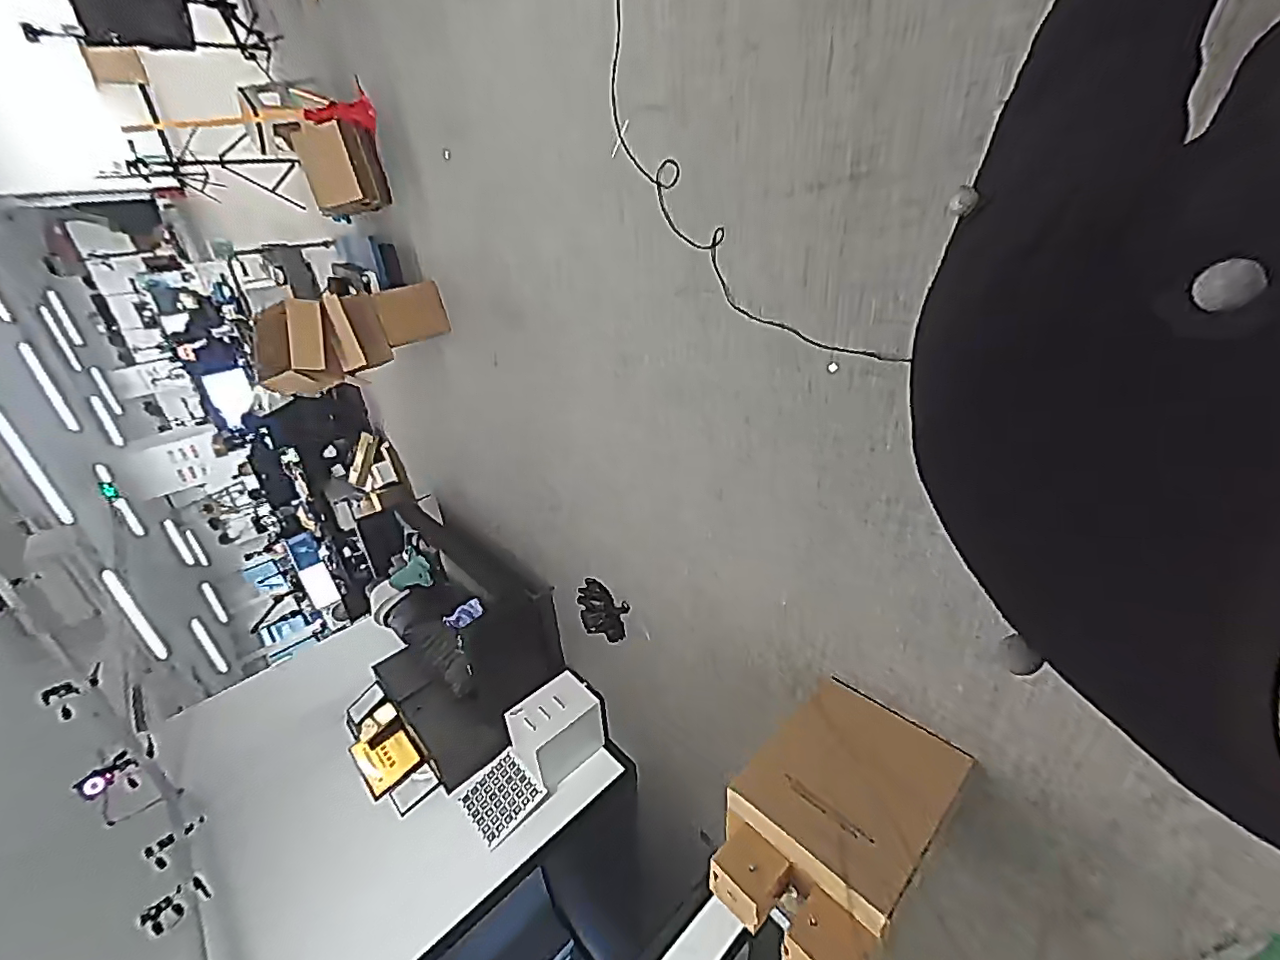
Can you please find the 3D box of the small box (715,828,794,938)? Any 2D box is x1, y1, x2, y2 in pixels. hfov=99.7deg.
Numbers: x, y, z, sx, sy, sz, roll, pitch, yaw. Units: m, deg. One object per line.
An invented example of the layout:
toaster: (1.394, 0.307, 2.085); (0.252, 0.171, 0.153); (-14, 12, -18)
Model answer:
small box: (0.351, 1.228, 1.662); (0.179, 0.176, 0.168); (23, 125, 41)

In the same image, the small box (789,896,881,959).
small box: (0.532, 1.300, 1.487); (0.179, 0.176, 0.168); (20, 124, 42)
